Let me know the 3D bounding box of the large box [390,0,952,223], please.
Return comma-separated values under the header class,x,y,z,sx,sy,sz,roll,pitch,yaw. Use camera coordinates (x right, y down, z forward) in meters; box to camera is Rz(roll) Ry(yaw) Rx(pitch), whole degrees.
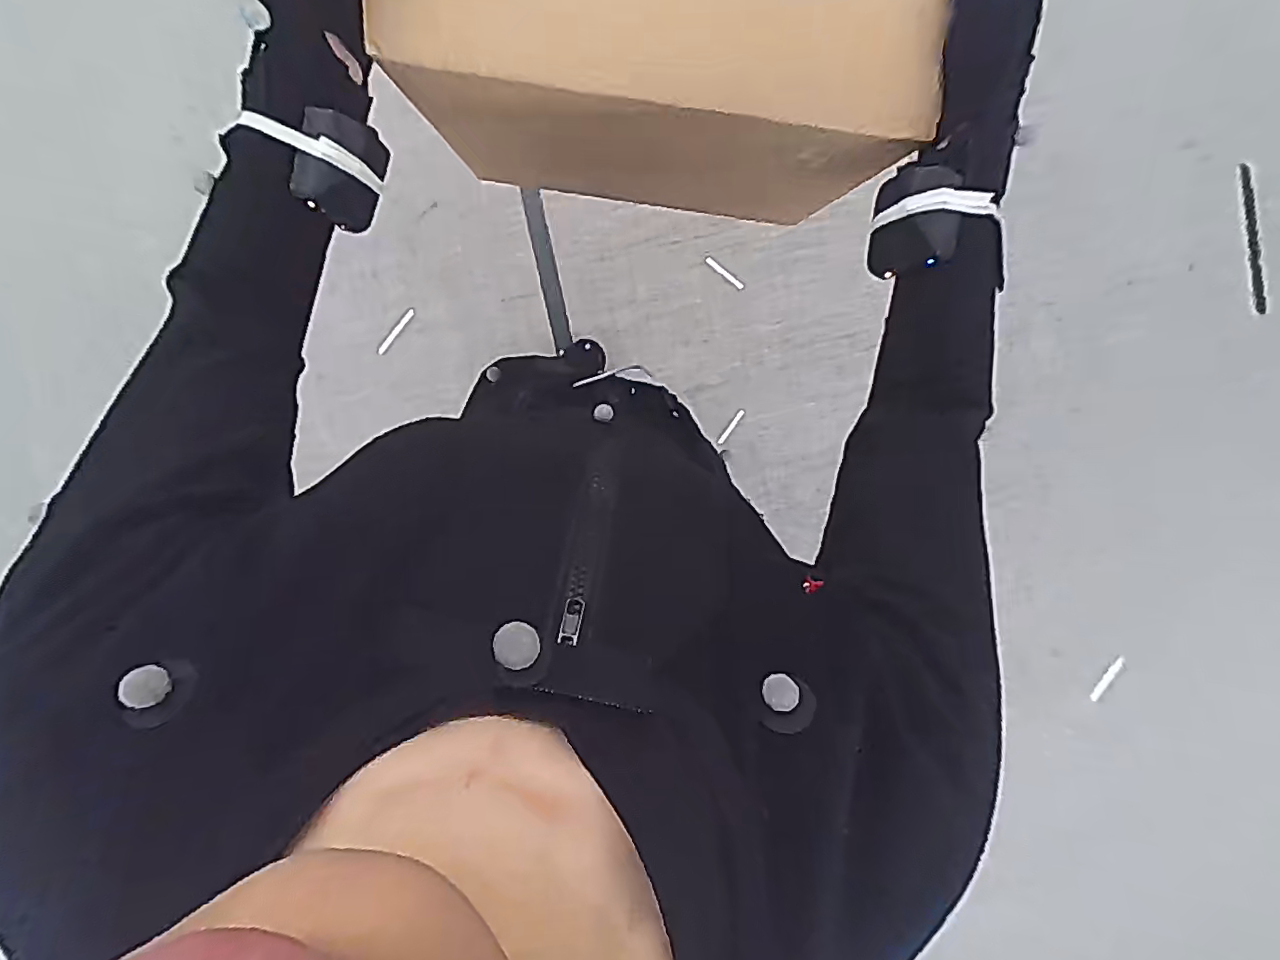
class,x,y,z,sx,sy,sz,roll,pitch,yaw
large box,0.027,-0.459,0.504,0.408,0.320,0.320,7,105,-5
